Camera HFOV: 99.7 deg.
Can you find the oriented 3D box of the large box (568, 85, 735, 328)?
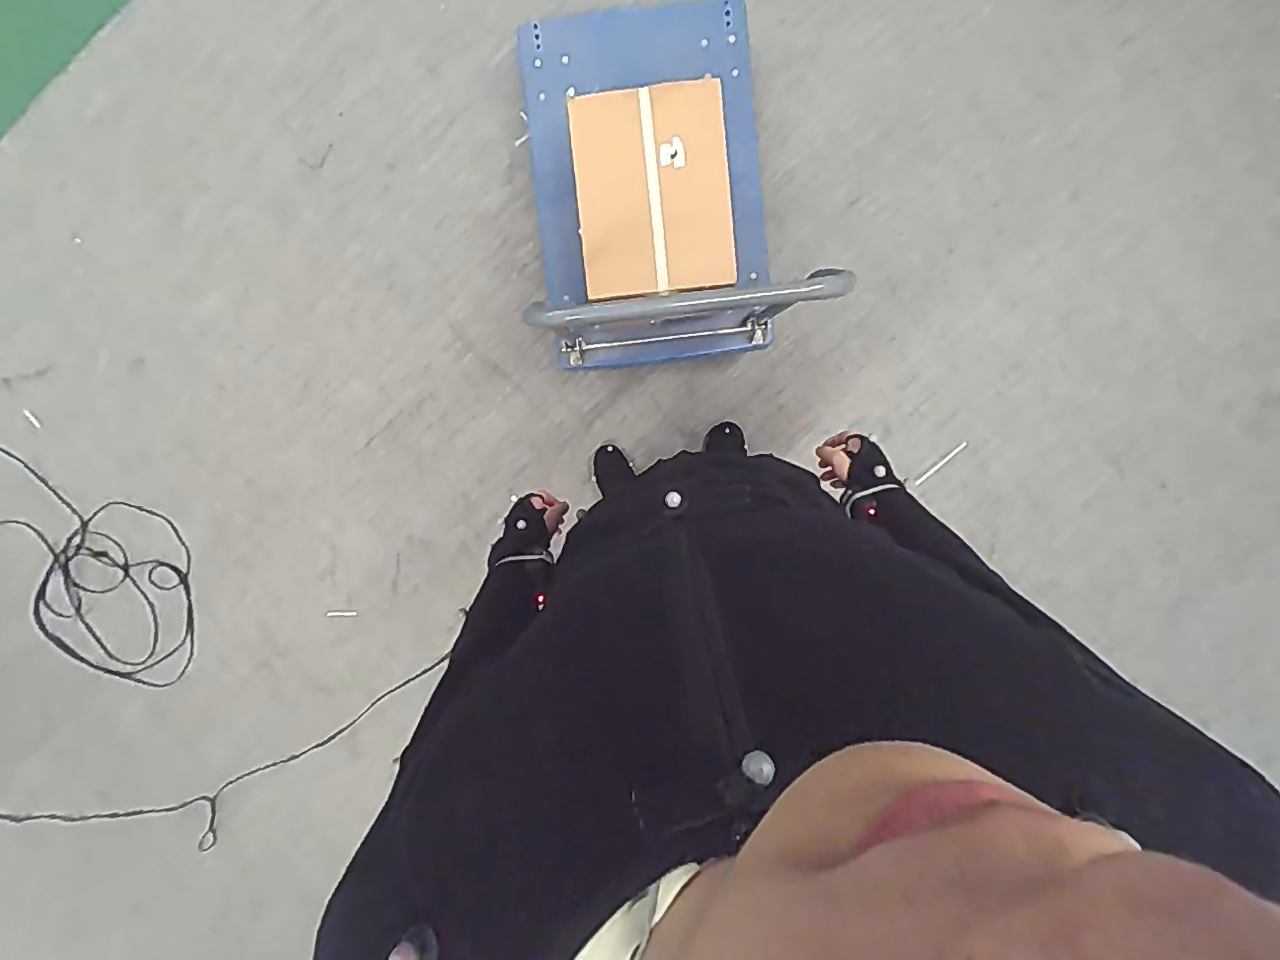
[{"bbox_3d":[0.029,-0.604,1.268,0.320,0.320,0.408,-6,94,1],"label":"large box"}]
